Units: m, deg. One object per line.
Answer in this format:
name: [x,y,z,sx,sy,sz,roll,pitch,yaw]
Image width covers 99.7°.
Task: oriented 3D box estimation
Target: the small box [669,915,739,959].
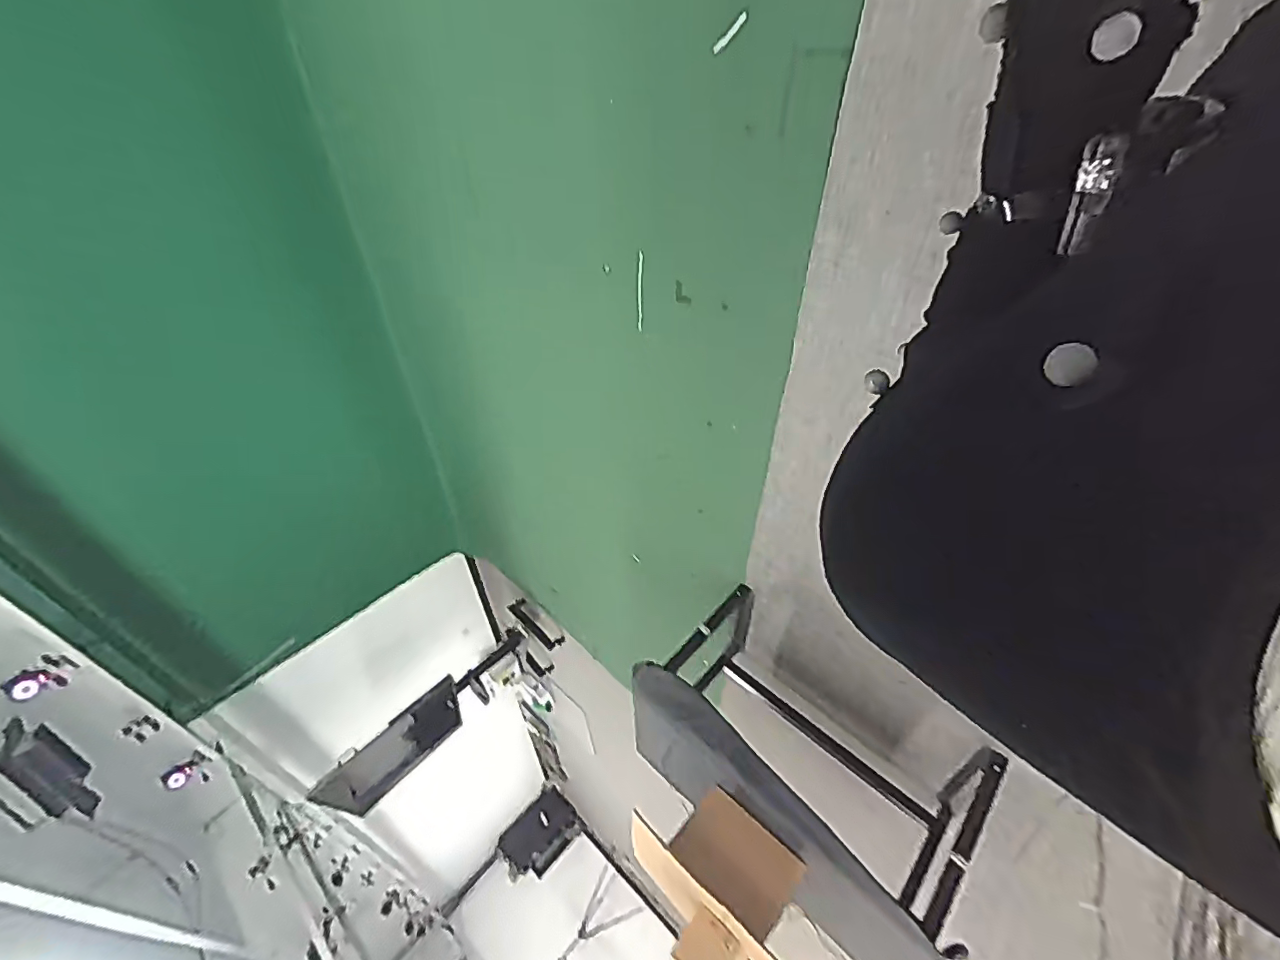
small box: [0.197,1.538,1.723,0.168,0.176,0.179,32,141,30]
